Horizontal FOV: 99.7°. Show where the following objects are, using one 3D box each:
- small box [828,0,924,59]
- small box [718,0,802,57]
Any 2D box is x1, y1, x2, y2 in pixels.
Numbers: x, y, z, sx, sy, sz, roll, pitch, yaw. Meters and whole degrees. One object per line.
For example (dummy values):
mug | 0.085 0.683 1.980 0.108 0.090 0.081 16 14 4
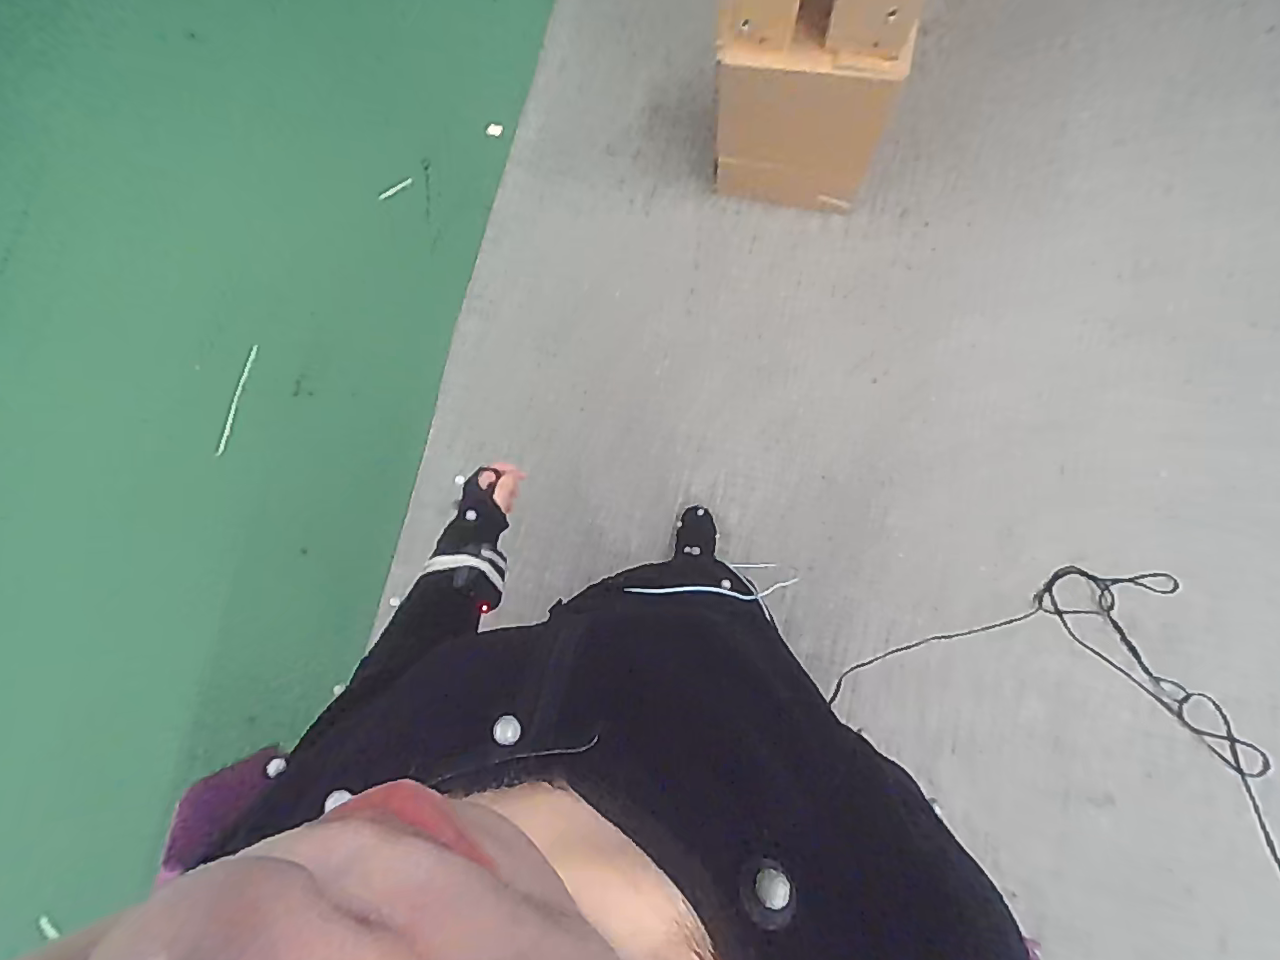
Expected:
small box | 0.491 -0.999 1.087 0.168 0.176 0.179 16 83 9
small box | 0.260 -1.037 1.120 0.168 0.176 0.179 13 85 7
